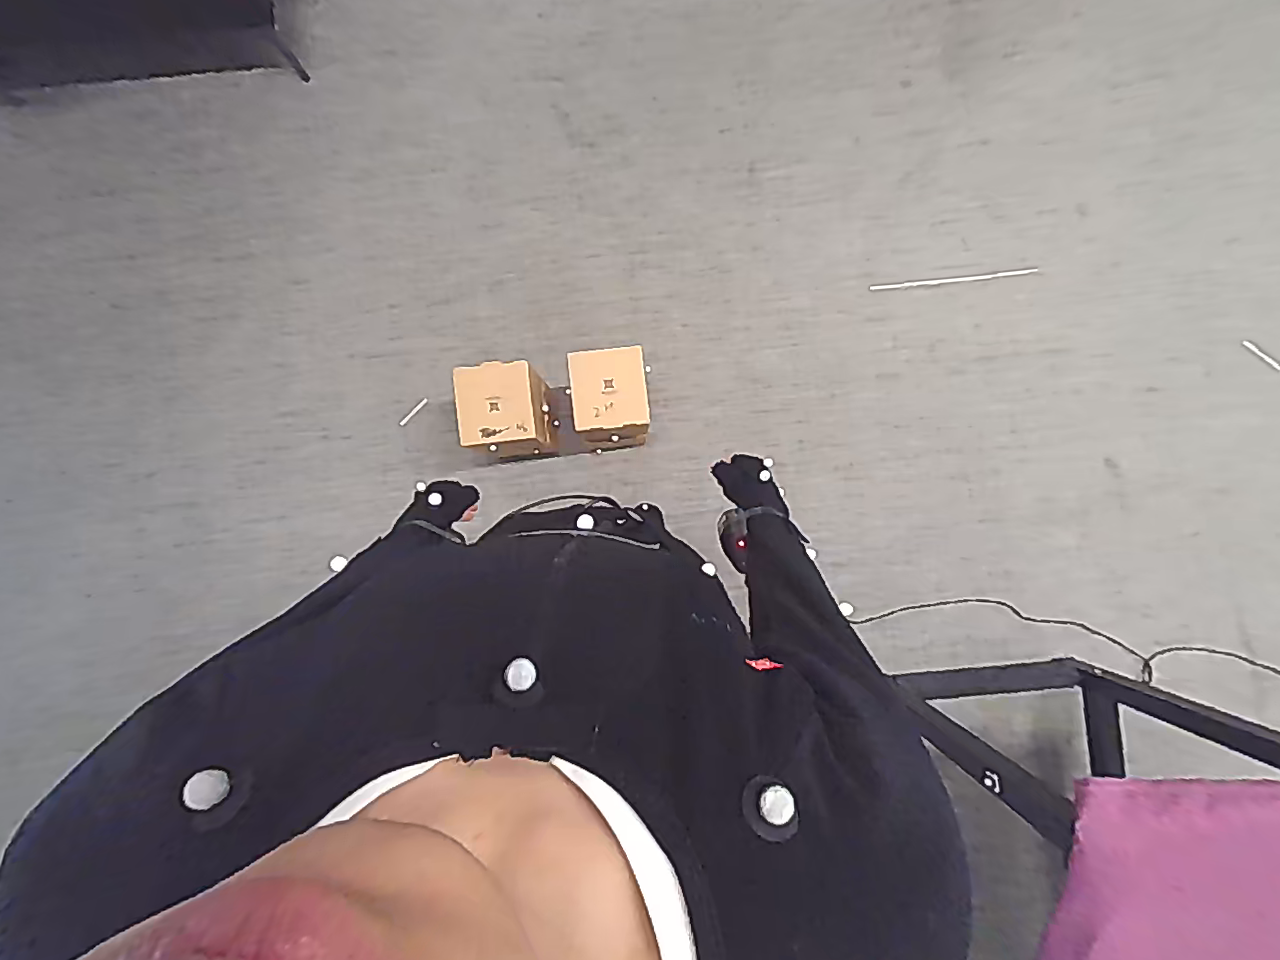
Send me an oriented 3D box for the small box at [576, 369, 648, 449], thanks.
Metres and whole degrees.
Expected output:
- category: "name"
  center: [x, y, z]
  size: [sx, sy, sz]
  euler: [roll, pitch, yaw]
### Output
- category: "small box"
  center: [-0.070, -0.179, 1.418]
  size: [0.168, 0.176, 0.179]
  euler: [-7, 87, -2]
